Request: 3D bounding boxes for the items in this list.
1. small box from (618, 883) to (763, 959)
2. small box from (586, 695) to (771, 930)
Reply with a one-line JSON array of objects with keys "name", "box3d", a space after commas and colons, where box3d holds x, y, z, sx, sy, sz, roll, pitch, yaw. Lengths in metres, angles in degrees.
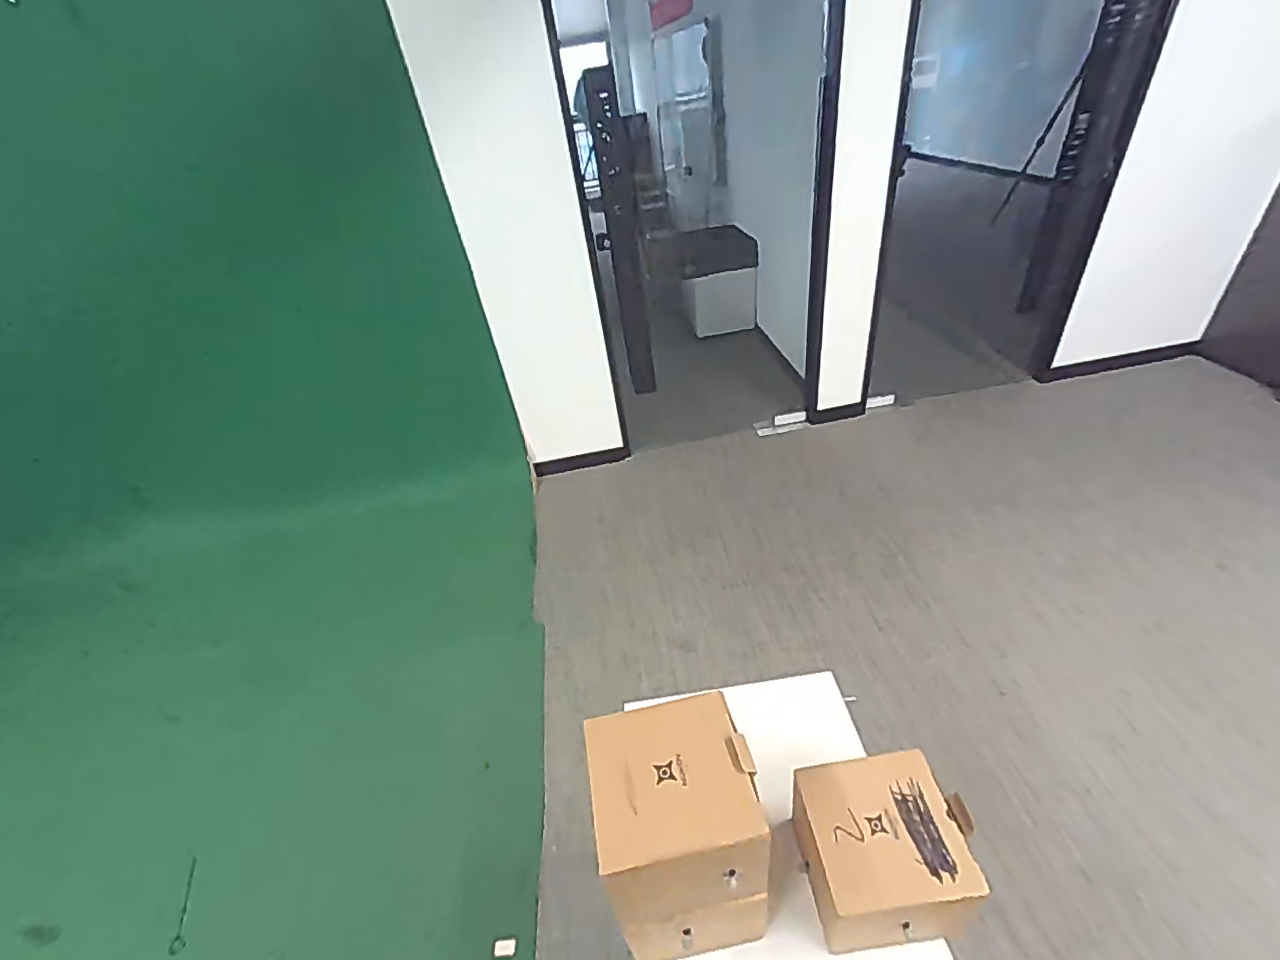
[{"name": "small box", "box3d": [0.060, 0.522, 0.735, 0.179, 0.176, 0.168, -11, 37, -3]}, {"name": "small box", "box3d": [0.041, 0.390, 0.640, 0.179, 0.176, 0.168, -12, 36, -5]}]
